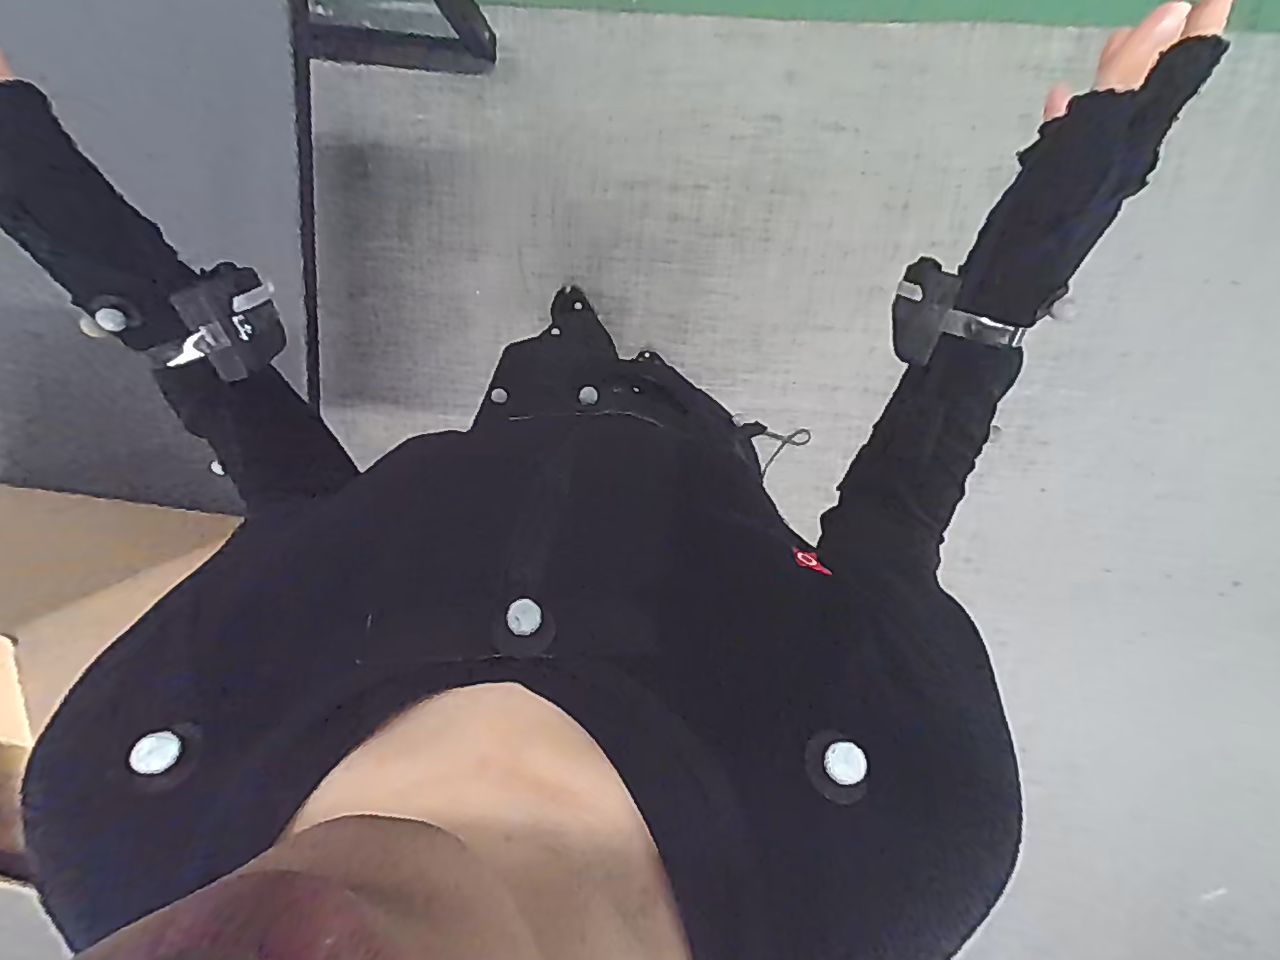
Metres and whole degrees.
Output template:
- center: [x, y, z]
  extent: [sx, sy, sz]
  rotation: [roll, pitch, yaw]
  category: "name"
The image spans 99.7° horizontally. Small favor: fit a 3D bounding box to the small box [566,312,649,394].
- center: [-0.086, -0.318, 1.348]
  extent: [0.168, 0.176, 0.179]
  rotation: [-3, 110, -19]
  category: "small box"
